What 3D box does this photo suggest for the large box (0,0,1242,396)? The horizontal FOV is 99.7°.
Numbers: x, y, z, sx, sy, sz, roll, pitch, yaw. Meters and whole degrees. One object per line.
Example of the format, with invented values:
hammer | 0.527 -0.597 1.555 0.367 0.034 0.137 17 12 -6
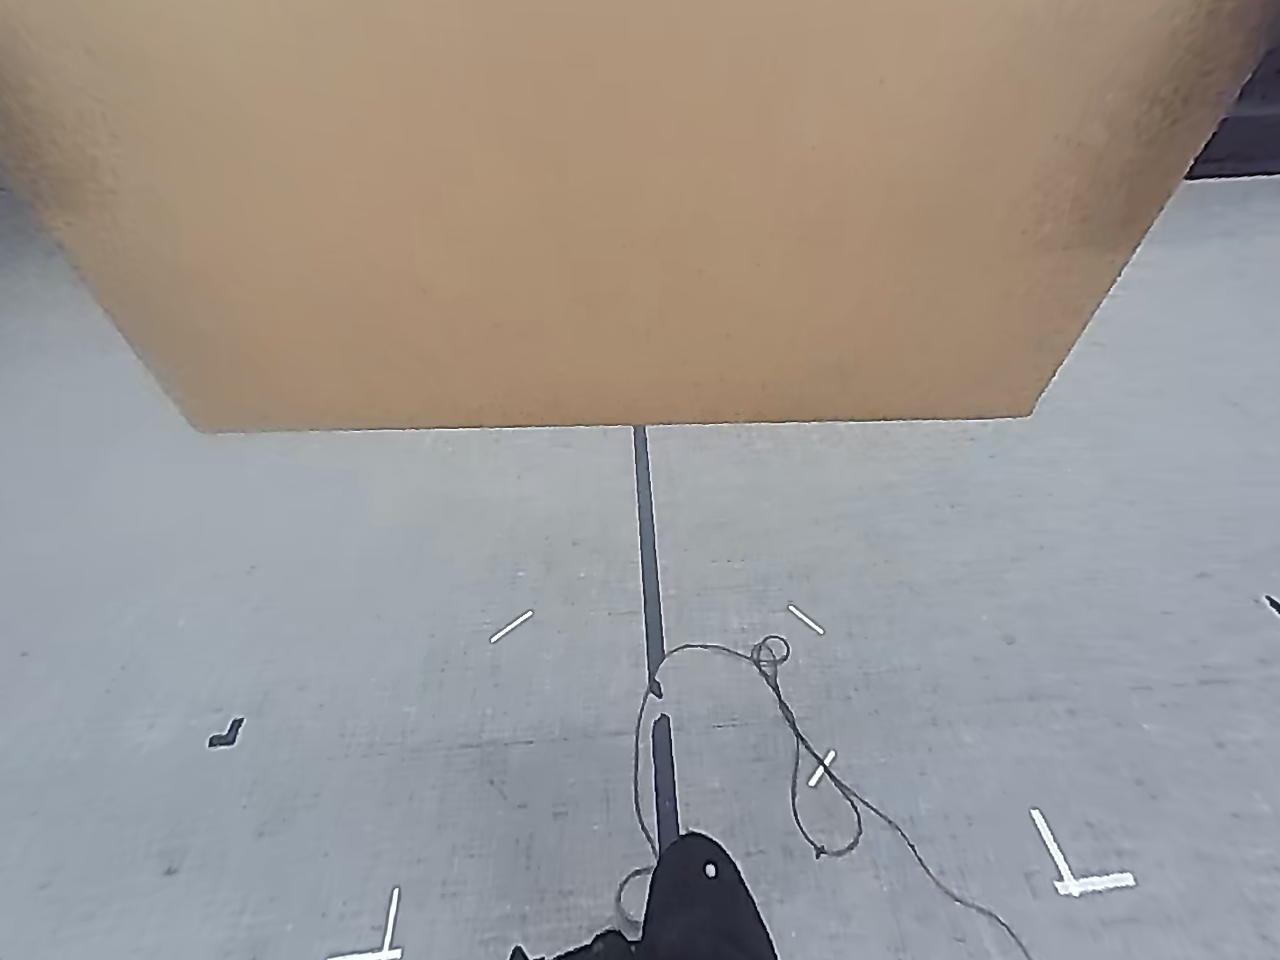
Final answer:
large box | -0.012 -0.253 0.265 0.408 0.320 0.320 -1 46 -2
